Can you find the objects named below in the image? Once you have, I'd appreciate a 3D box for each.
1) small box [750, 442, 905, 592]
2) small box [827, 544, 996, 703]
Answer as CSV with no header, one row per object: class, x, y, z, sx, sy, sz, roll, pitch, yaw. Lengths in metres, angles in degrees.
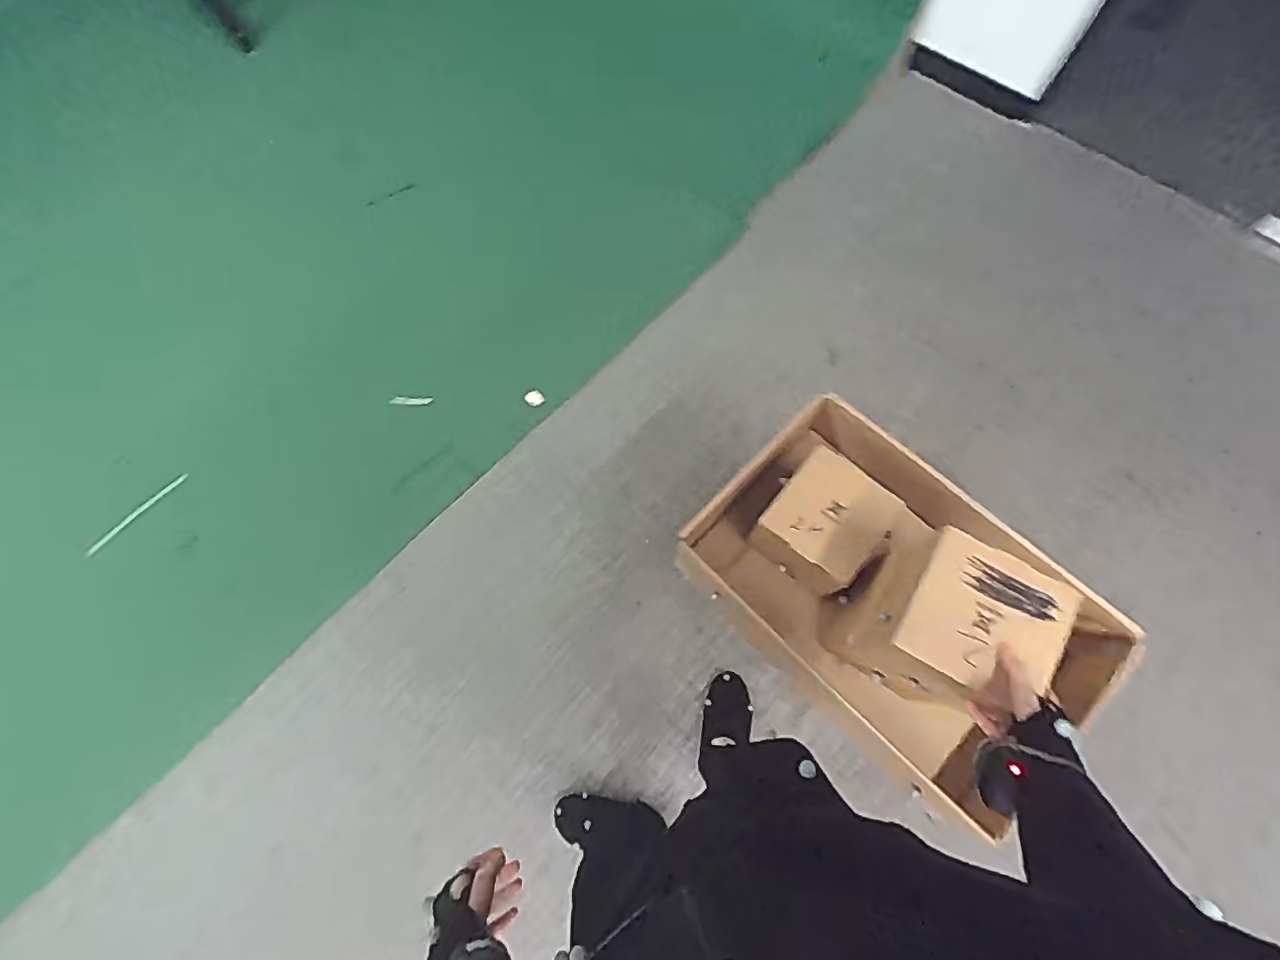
small box,0.310,0.071,0.937,0.168,0.176,0.179,40,77,14
small box,0.424,0.234,0.878,0.168,0.176,0.179,31,76,14
